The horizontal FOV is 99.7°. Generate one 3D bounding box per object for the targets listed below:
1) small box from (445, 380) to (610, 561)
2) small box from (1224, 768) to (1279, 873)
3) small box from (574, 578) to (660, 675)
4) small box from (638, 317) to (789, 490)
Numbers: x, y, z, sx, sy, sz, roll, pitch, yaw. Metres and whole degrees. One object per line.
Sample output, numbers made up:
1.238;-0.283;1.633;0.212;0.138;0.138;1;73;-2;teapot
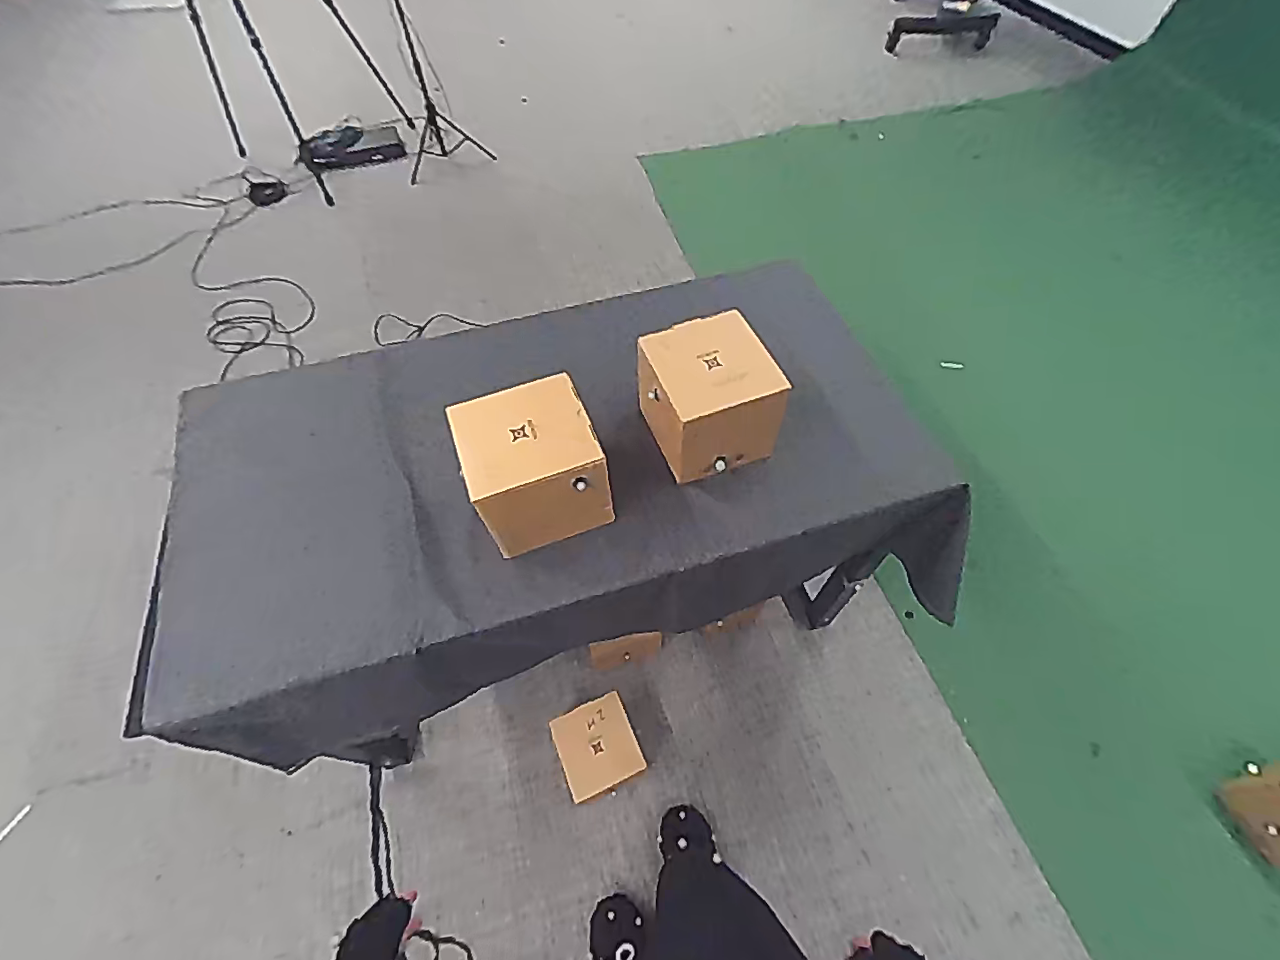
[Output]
-0.153;-0.008;0.772;0.179;0.176;0.168;-19;58;-11;small box
1.405;0.712;1.130;0.179;0.176;0.168;-17;58;-8;small box
-0.057;0.378;1.382;0.179;0.176;0.168;-18;58;-8;small box
0.102;-0.115;0.832;0.168;0.176;0.179;-18;59;-9;small box
